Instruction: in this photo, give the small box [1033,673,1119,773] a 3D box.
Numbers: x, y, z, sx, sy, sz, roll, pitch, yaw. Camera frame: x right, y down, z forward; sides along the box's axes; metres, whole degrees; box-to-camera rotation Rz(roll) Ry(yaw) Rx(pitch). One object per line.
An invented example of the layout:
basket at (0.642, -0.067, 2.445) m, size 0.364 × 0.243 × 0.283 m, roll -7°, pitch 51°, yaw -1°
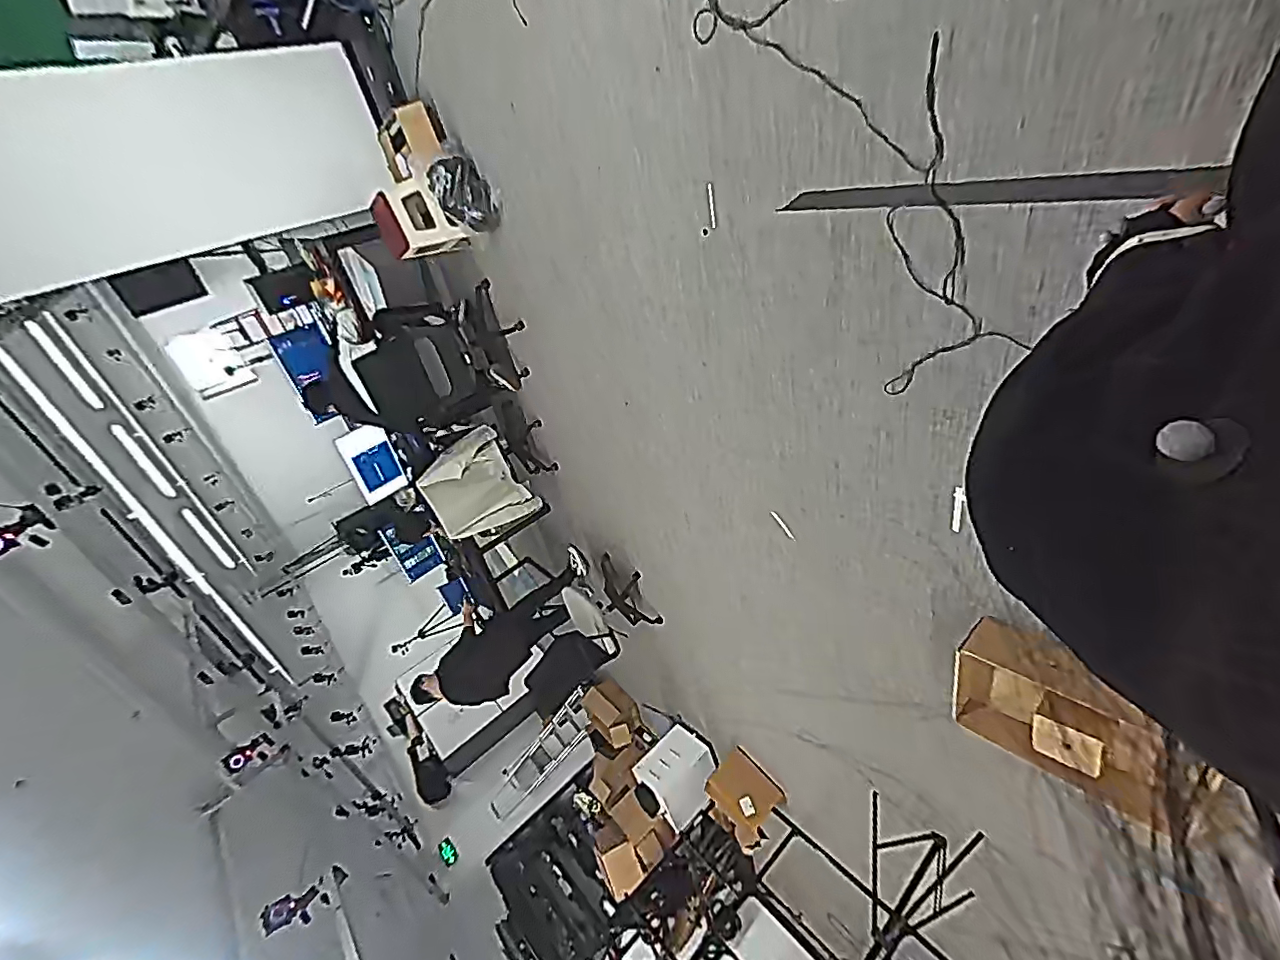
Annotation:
small box at (1.320, 0.729, 1.637) m, size 0.168 × 0.176 × 0.179 m, roll 15°, pitch 131°, yaw 50°
